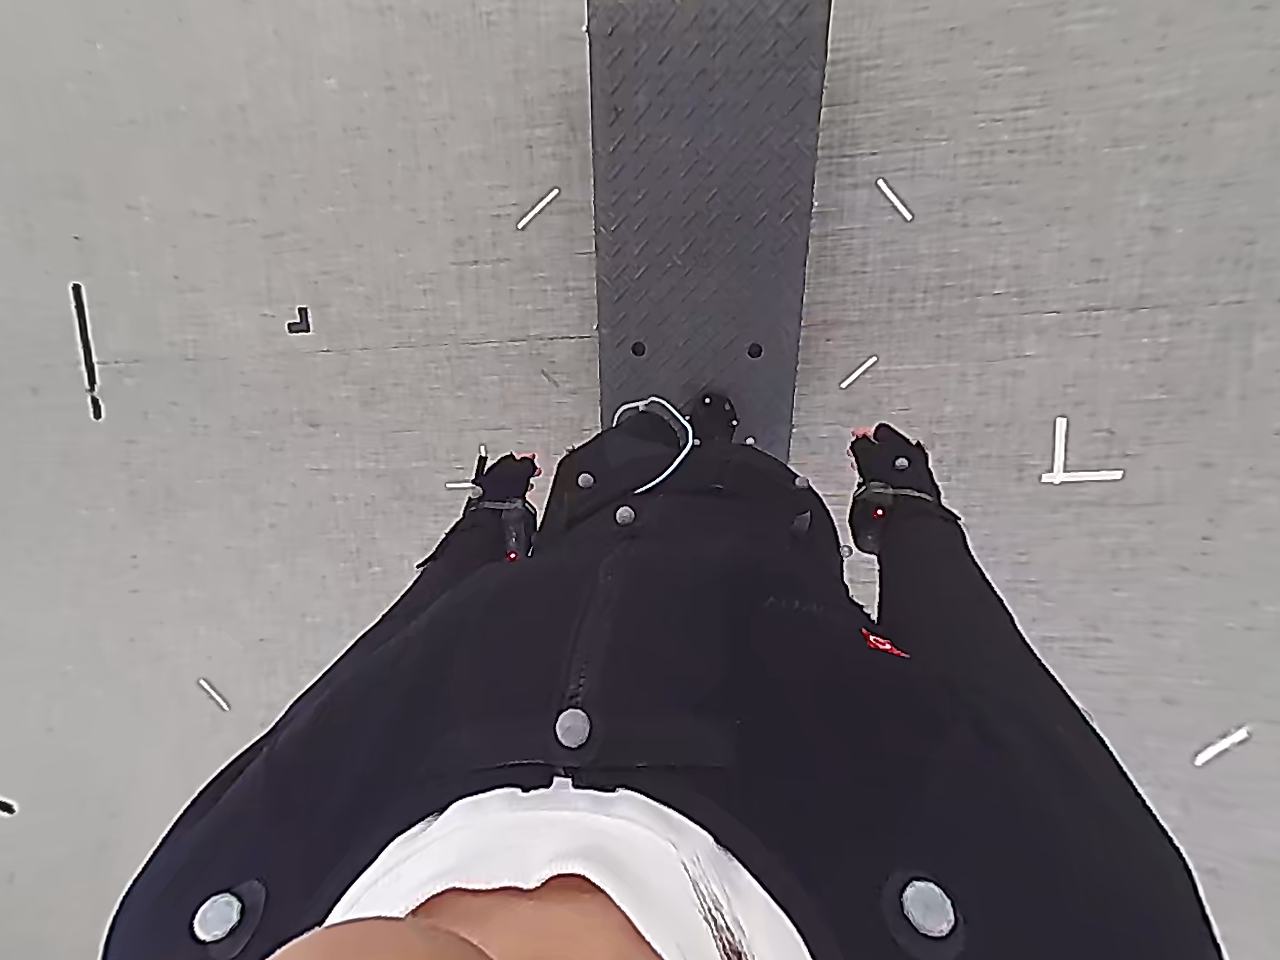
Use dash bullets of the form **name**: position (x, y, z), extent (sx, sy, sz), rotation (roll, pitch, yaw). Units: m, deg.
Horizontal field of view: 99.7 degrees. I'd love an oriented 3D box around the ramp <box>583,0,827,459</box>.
- **ramp**: position (0.134, -0.527, 1.251), extent (0.509, 0.206, 0.991), rotation (0, 101, 7)
